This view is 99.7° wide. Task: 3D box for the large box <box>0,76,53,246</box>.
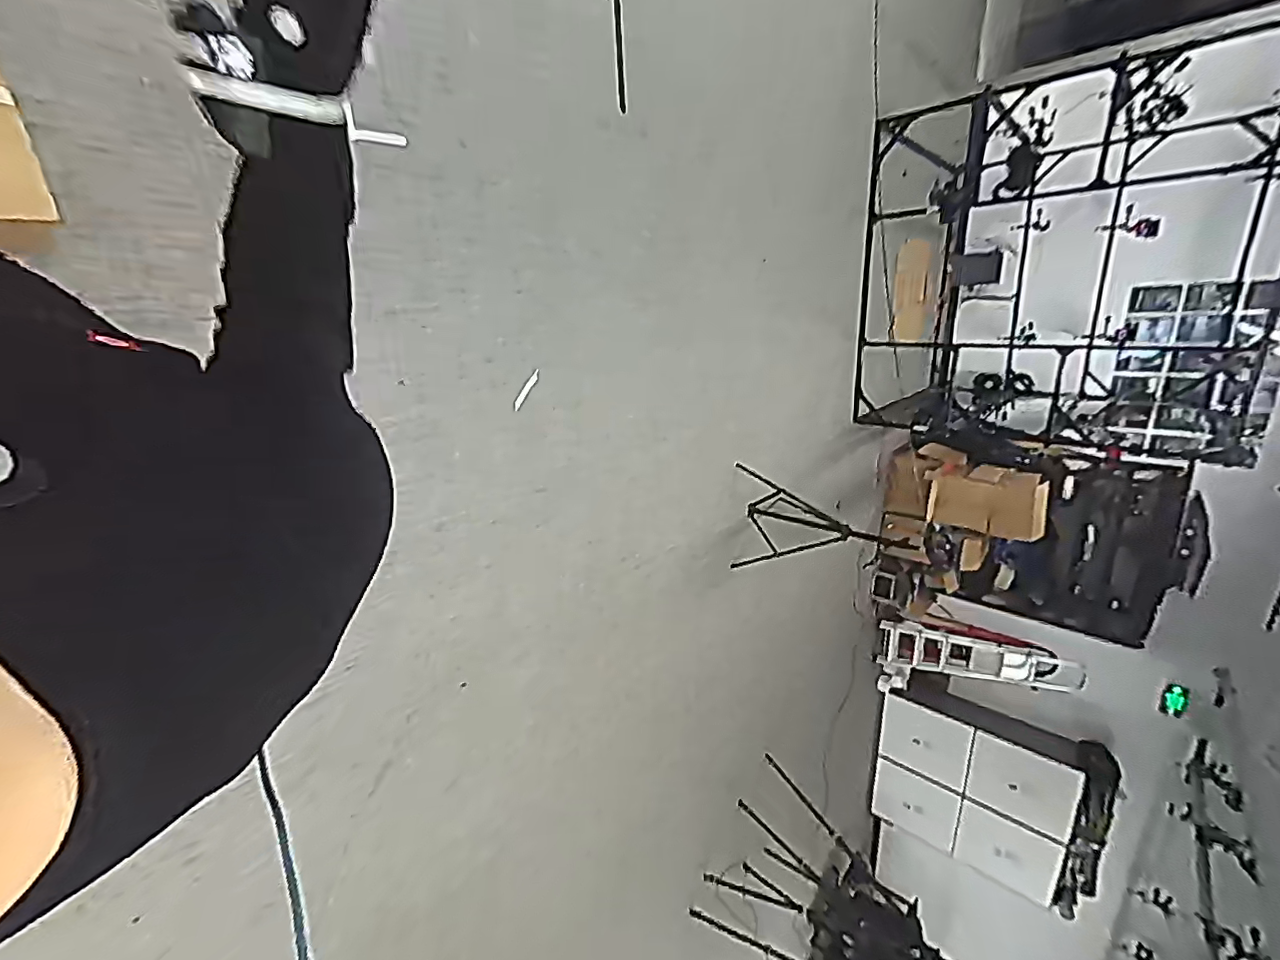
[{"bbox_3d":[-1.124,-0.495,0.711,0.408,0.320,0.320,-25,116,-45],"label":"large box"}]
